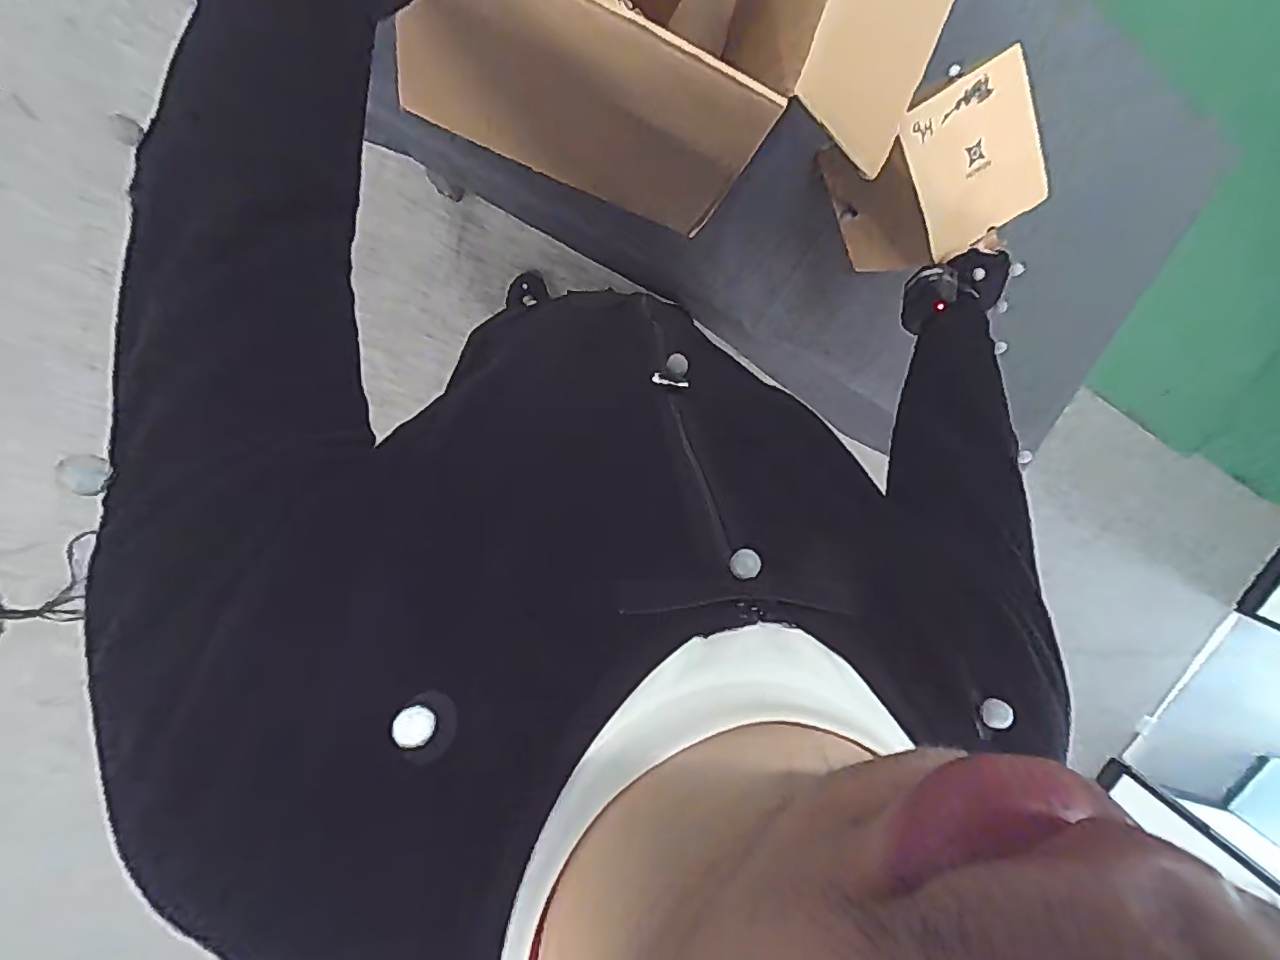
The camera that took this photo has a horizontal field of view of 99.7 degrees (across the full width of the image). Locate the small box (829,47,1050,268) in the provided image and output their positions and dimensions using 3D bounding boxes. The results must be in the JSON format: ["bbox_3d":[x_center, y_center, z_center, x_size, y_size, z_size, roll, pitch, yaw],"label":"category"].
[{"bbox_3d":[0.376,-0.397,0.697,0.168,0.176,0.179,-30,114,1],"label":"small box"}]
